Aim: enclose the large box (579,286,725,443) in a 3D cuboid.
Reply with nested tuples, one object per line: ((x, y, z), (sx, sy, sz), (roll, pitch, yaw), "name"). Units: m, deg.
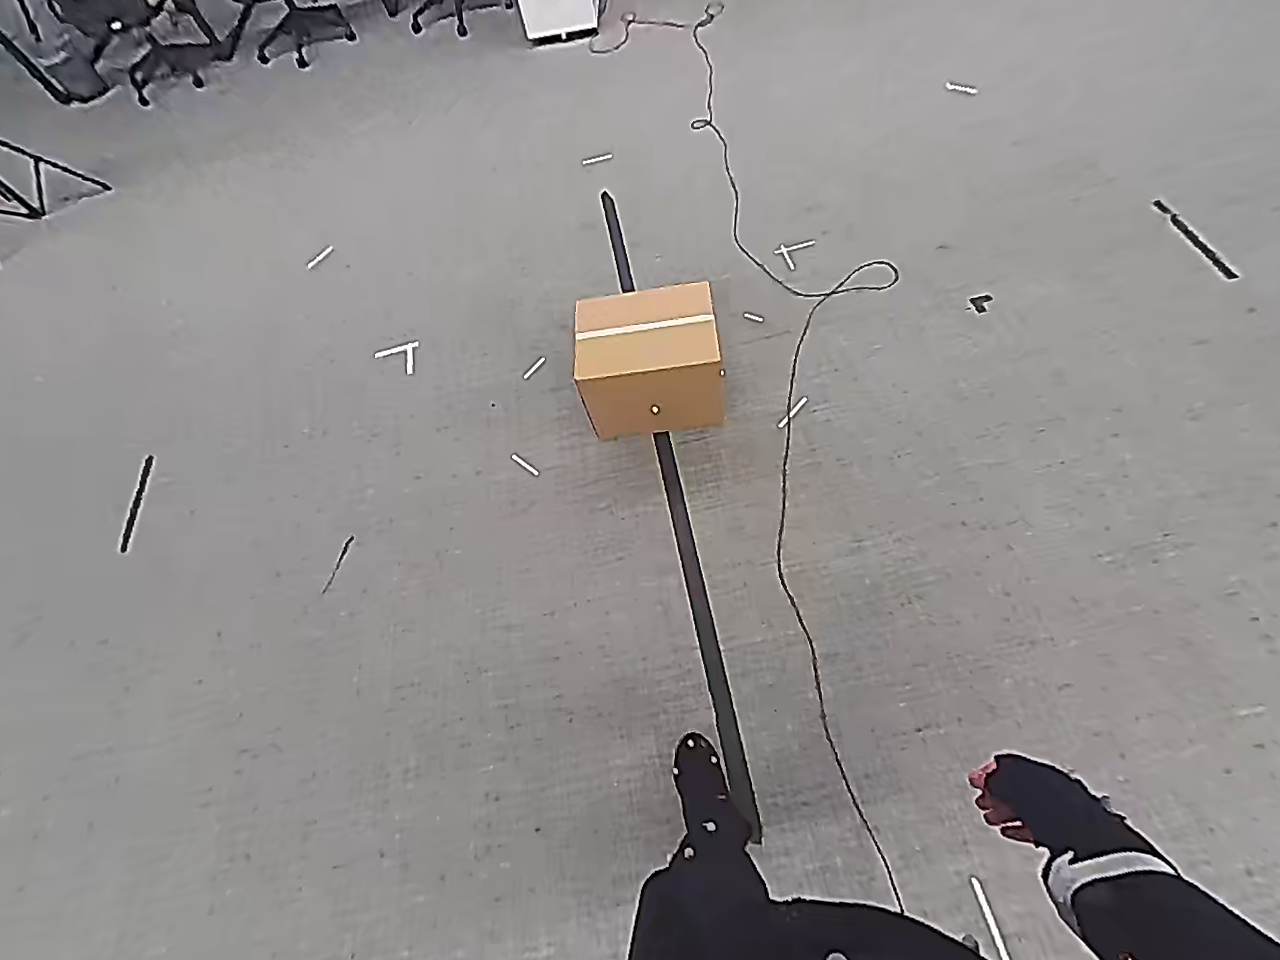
((0.040, -0.343, 1.665), (0.408, 0.320, 0.320), (-7, 61, 6), "large box")
